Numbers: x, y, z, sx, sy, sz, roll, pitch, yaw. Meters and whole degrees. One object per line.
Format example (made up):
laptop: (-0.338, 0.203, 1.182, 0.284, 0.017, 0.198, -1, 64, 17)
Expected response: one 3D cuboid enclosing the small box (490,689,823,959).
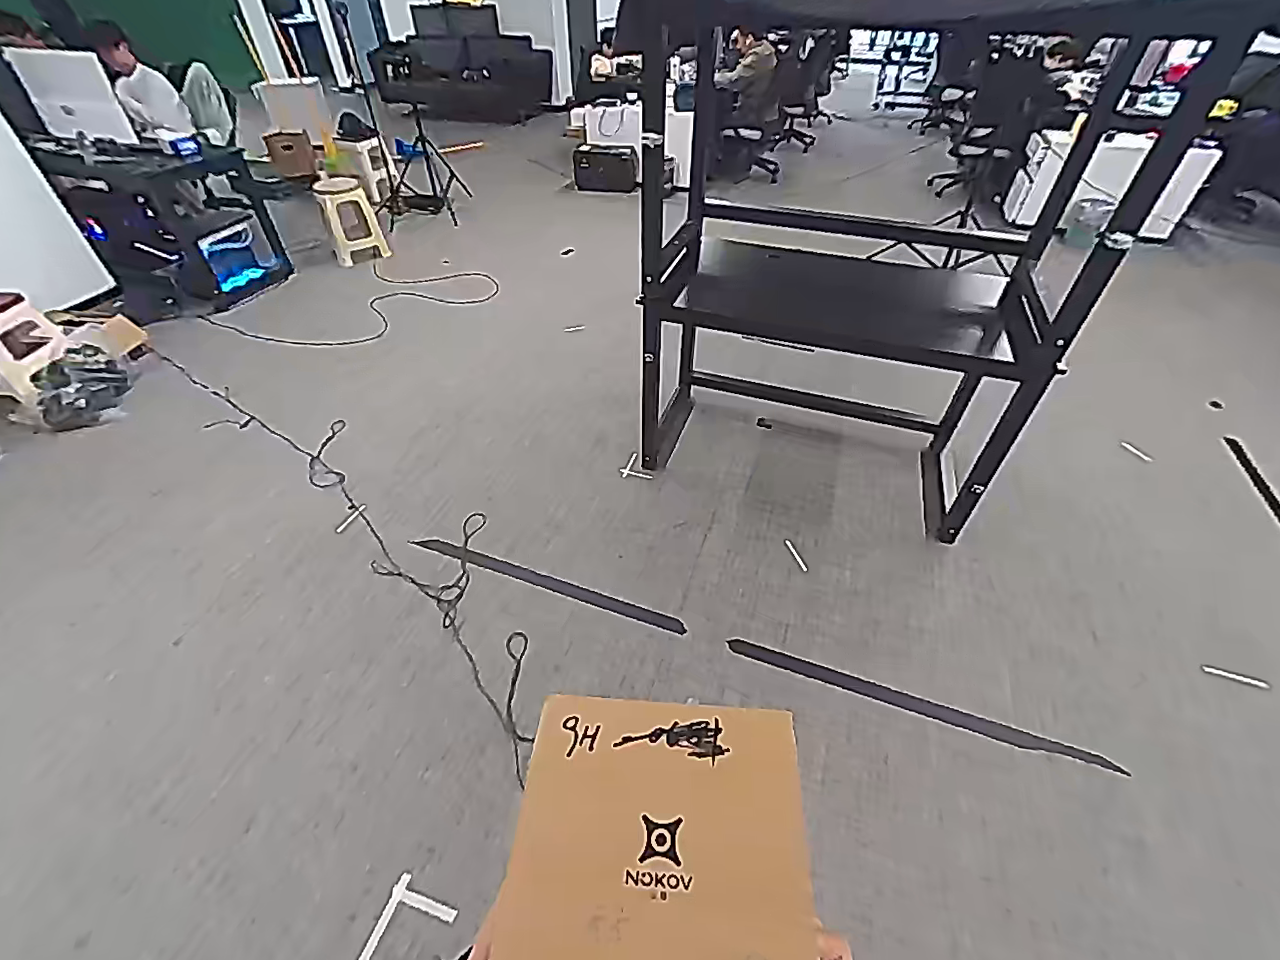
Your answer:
small box: (0.014, 0.260, 0.349, 0.168, 0.176, 0.179, 3, 46, 4)
